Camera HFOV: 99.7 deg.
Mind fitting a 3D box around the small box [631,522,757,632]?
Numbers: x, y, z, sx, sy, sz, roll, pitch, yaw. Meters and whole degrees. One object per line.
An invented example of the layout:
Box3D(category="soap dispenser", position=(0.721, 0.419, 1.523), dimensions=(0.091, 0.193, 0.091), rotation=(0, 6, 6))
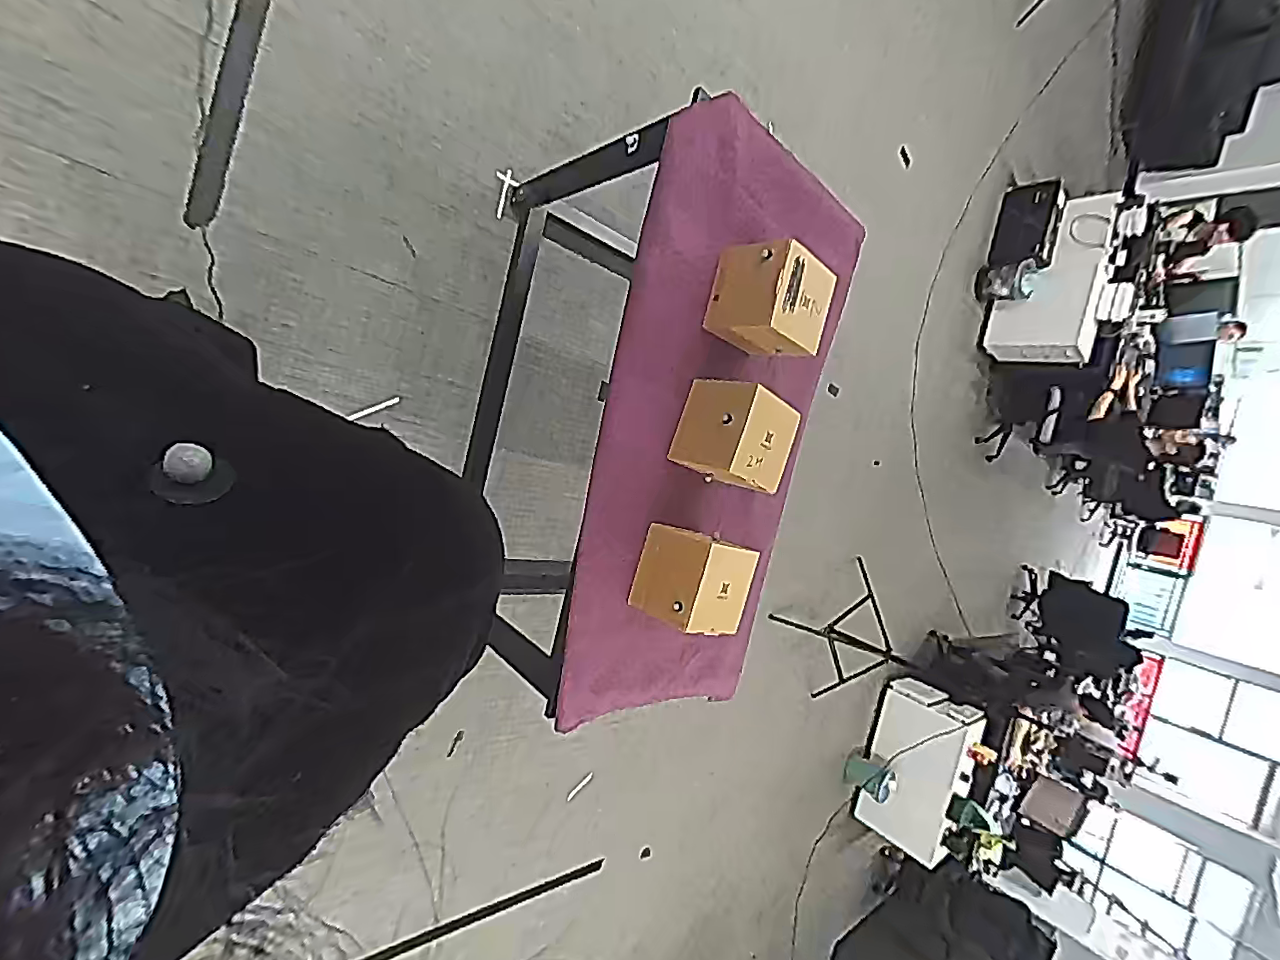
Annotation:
Box3D(category="small box", position=(0.107, 0.195, 1.103), dimensions=(0.168, 0.176, 0.179), rotation=(17, 90, -44))

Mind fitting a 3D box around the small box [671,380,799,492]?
Box3D(category="small box", position=(0.189, -0.093, 1.101), dimensions=(0.168, 0.176, 0.179), rotation=(22, 86, -42))
